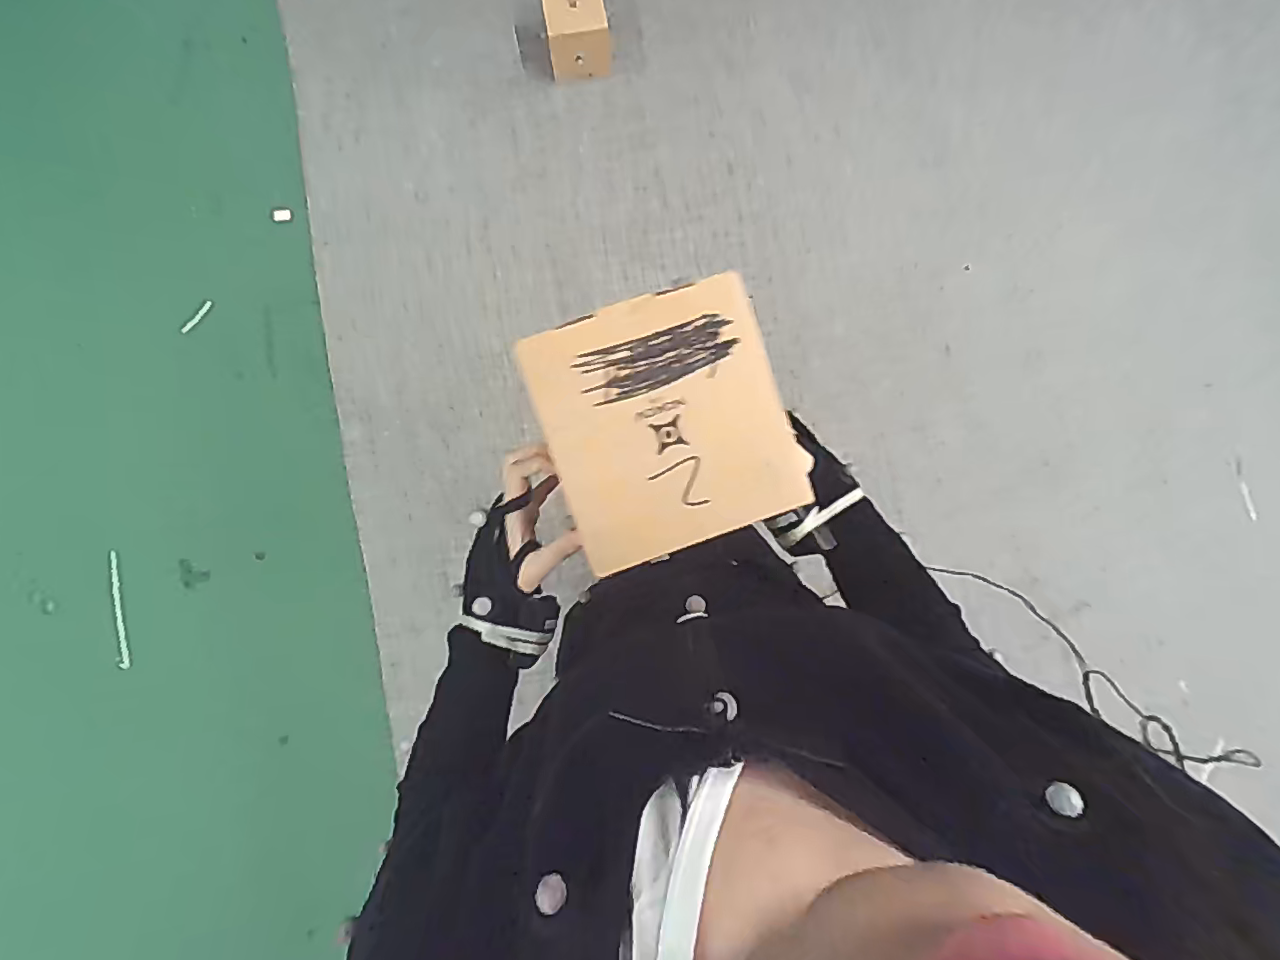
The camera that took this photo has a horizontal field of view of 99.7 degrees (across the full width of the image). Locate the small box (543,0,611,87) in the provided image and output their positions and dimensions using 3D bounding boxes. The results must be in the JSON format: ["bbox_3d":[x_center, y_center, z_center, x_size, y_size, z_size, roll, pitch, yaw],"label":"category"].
[{"bbox_3d":[-0.177,-1.266,1.549,0.168,0.176,0.179,-10,86,-2],"label":"small box"}]
